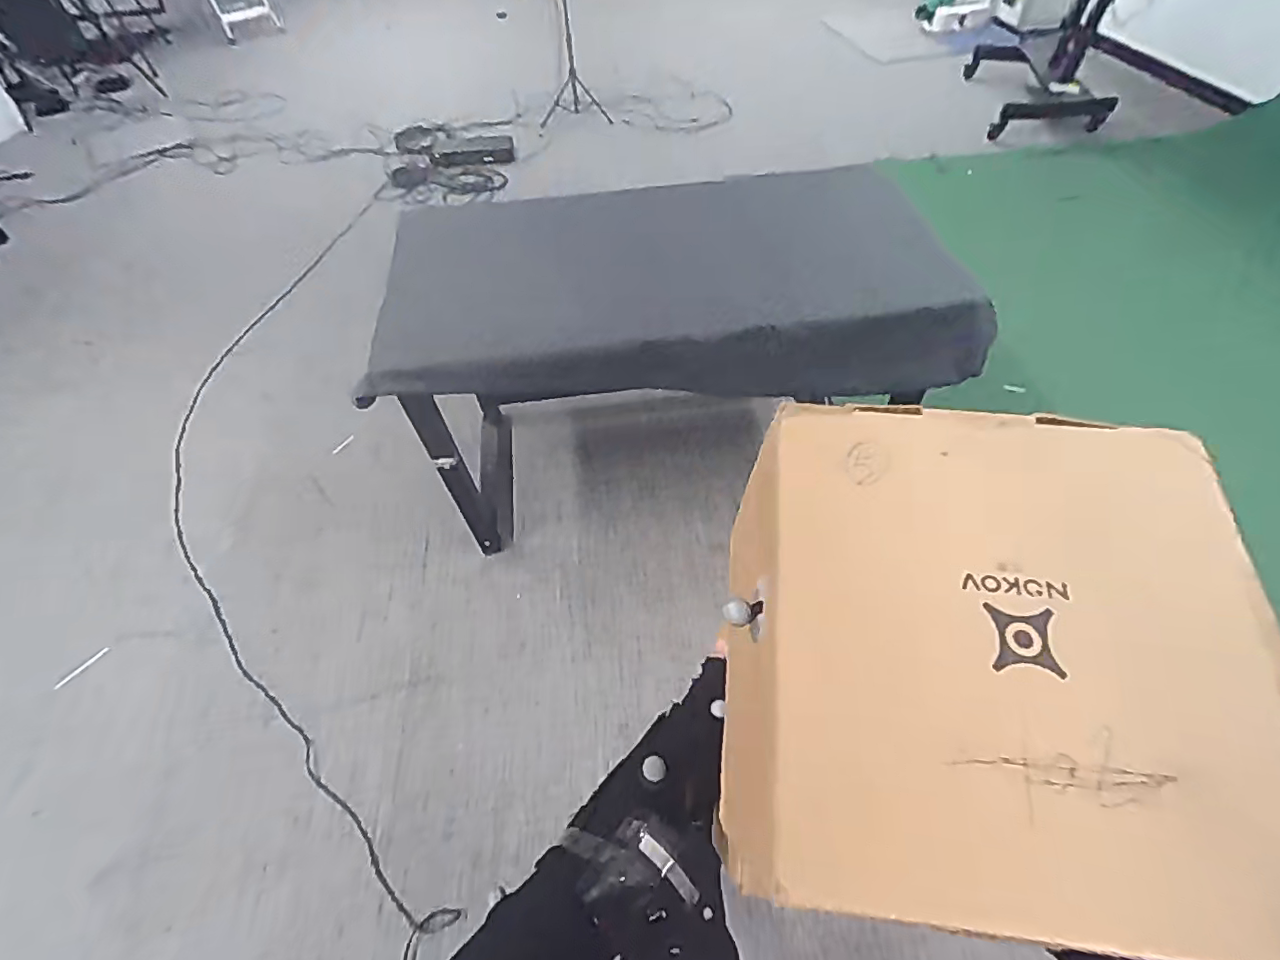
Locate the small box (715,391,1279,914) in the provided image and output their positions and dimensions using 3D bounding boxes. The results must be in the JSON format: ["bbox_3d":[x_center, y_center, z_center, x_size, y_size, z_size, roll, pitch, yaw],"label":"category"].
[{"bbox_3d":[0.128,0.078,0.273,0.168,0.176,0.179,4,65,6],"label":"small box"}]

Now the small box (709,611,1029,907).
[{"bbox_3d":[0.141,0.179,0.404,0.168,0.176,0.179,3,65,4],"label":"small box"}]
